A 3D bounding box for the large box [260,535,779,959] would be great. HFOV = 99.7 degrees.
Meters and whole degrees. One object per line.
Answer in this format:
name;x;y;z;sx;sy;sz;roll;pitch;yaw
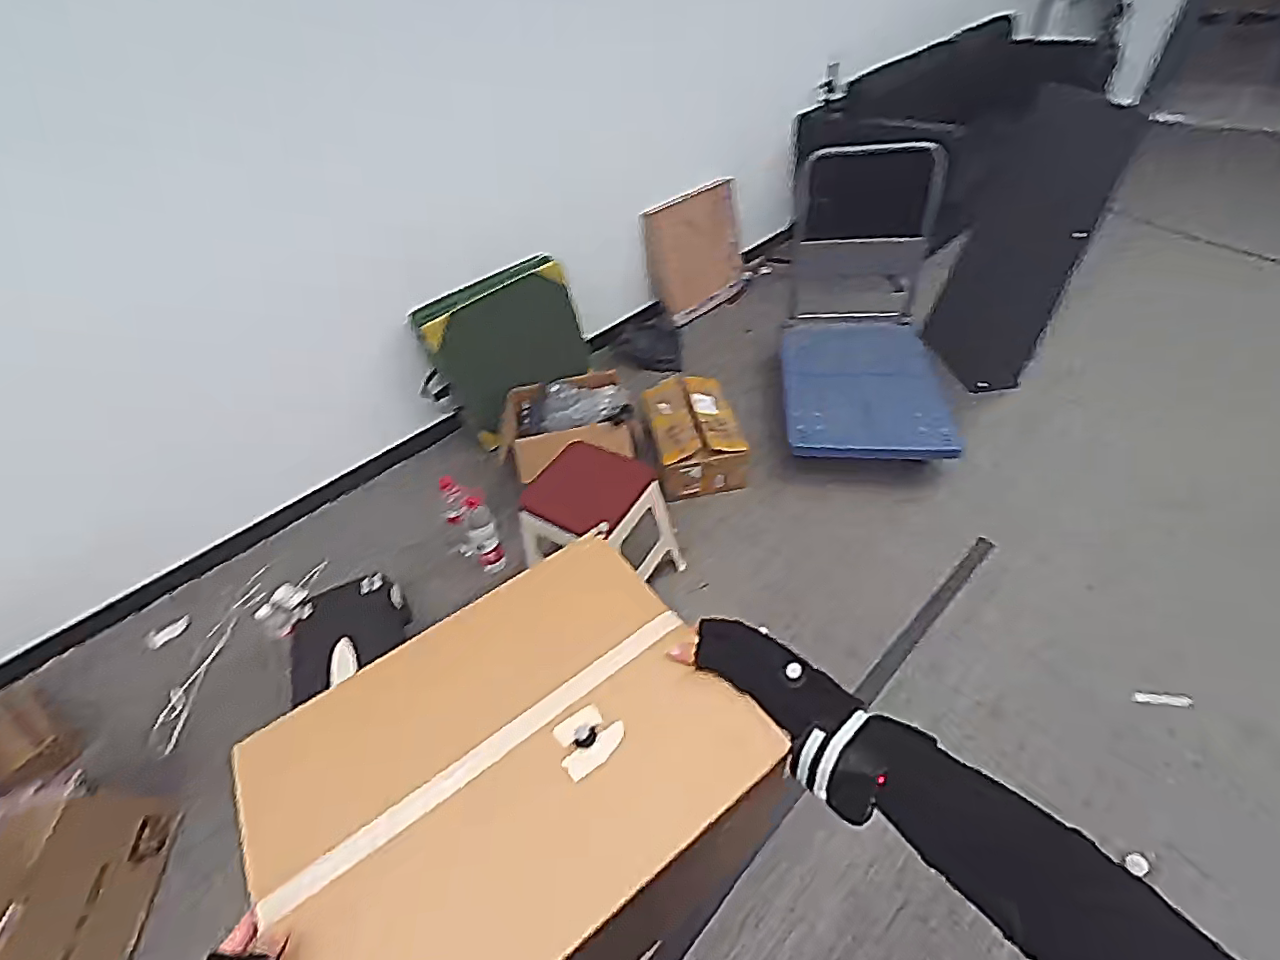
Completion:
large box;-0.105;0.345;0.599;0.408;0.320;0.320;-30;49;-21
